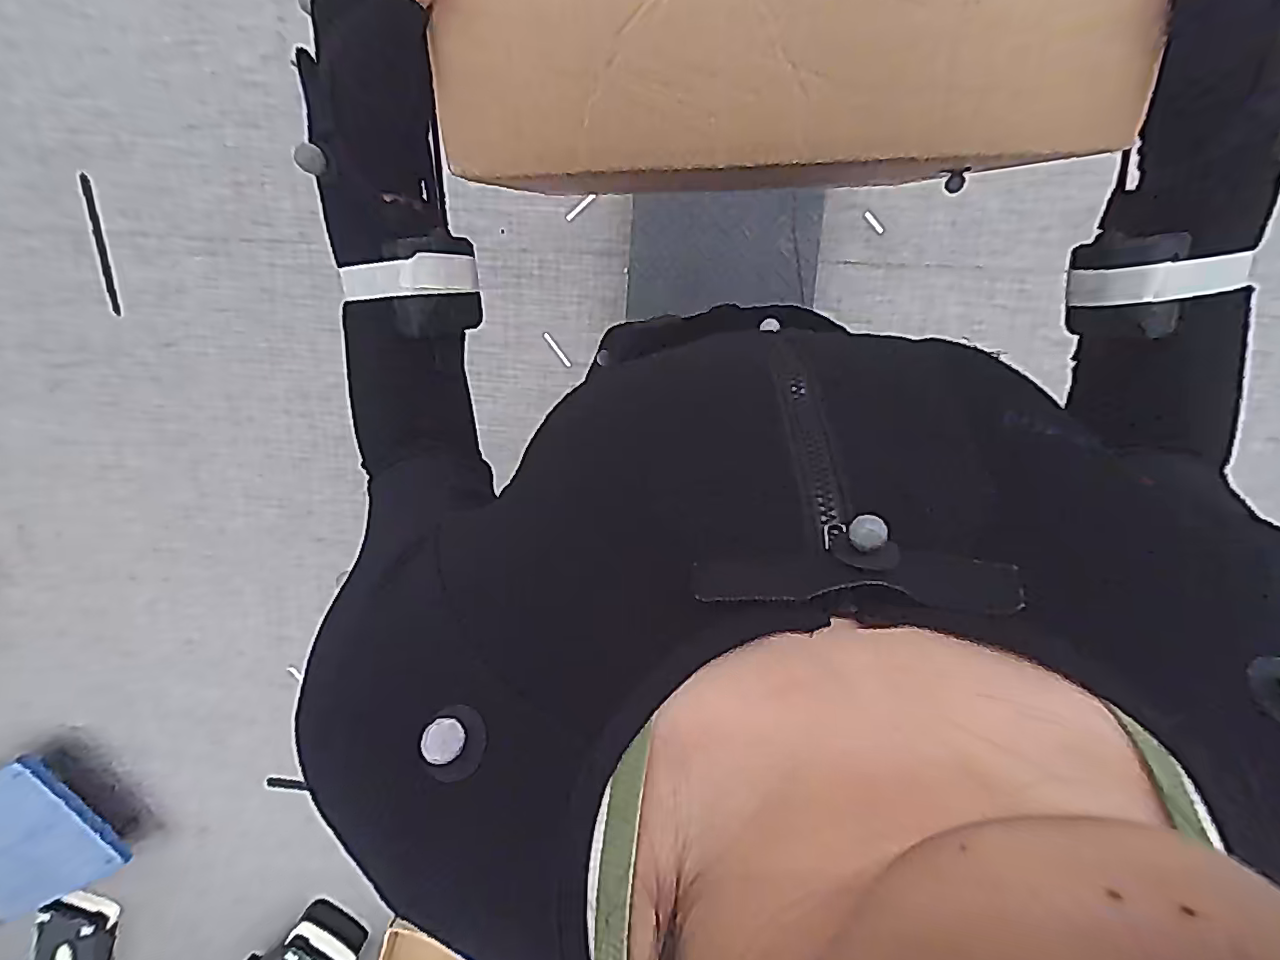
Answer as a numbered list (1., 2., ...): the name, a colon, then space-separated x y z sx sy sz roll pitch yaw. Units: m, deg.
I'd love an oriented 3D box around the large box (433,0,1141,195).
1. large box: 0.083 -0.399 0.405 0.408 0.320 0.320 -1 115 2
